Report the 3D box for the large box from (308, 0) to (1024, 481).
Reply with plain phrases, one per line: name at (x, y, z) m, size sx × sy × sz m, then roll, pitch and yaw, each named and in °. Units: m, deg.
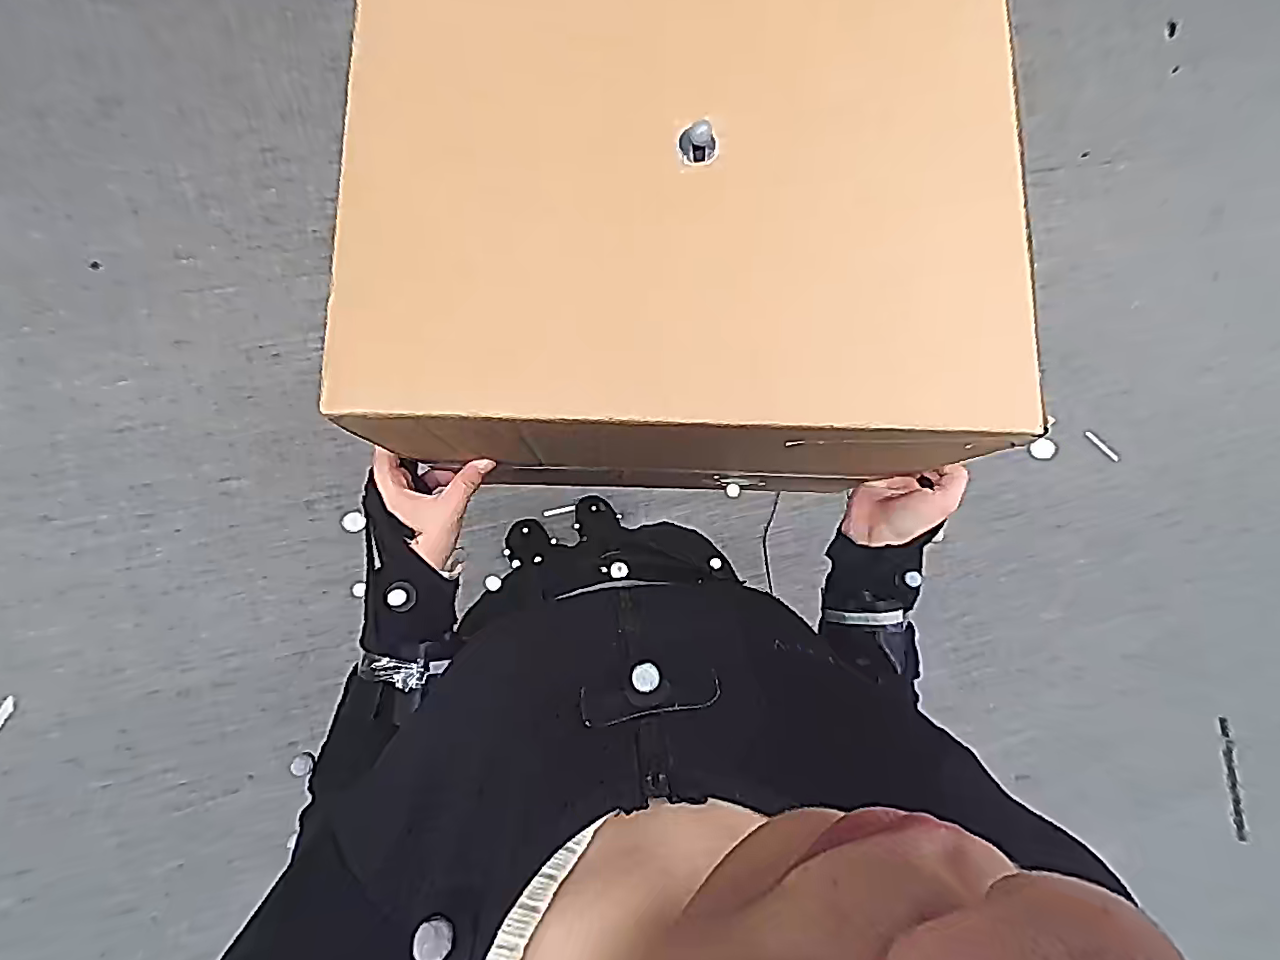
large box at (0.010, -0.169, 0.461) m, size 0.408 × 0.320 × 0.320 m, roll 0°, pitch 84°, yaw -2°
